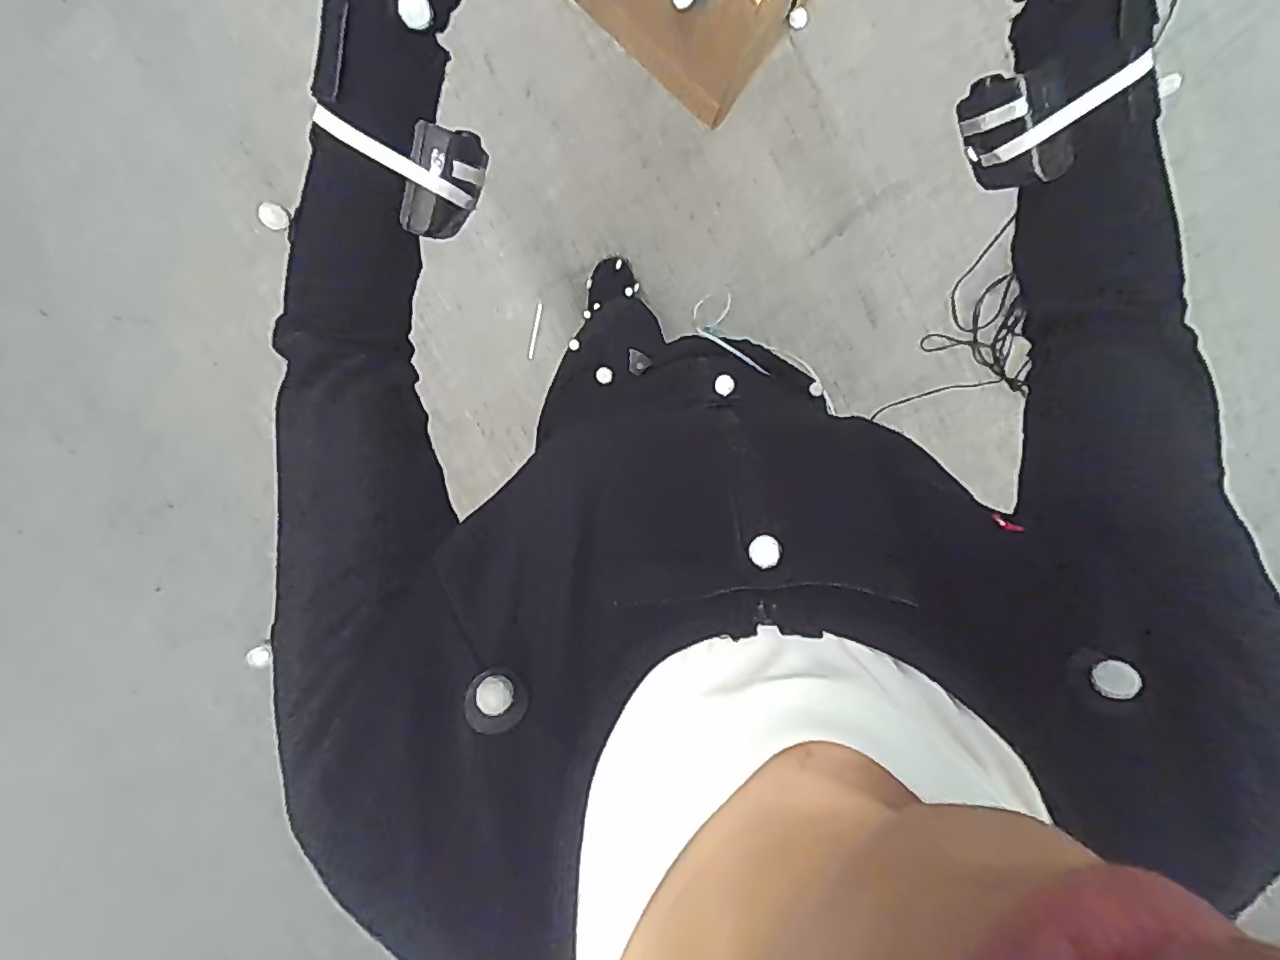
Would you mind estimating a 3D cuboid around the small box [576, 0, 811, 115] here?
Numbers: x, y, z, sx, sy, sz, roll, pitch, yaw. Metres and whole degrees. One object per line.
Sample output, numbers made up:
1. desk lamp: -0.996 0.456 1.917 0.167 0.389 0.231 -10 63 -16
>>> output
1. small box: 0.042 -0.373 0.326 0.179 0.176 0.168 38 99 -11
